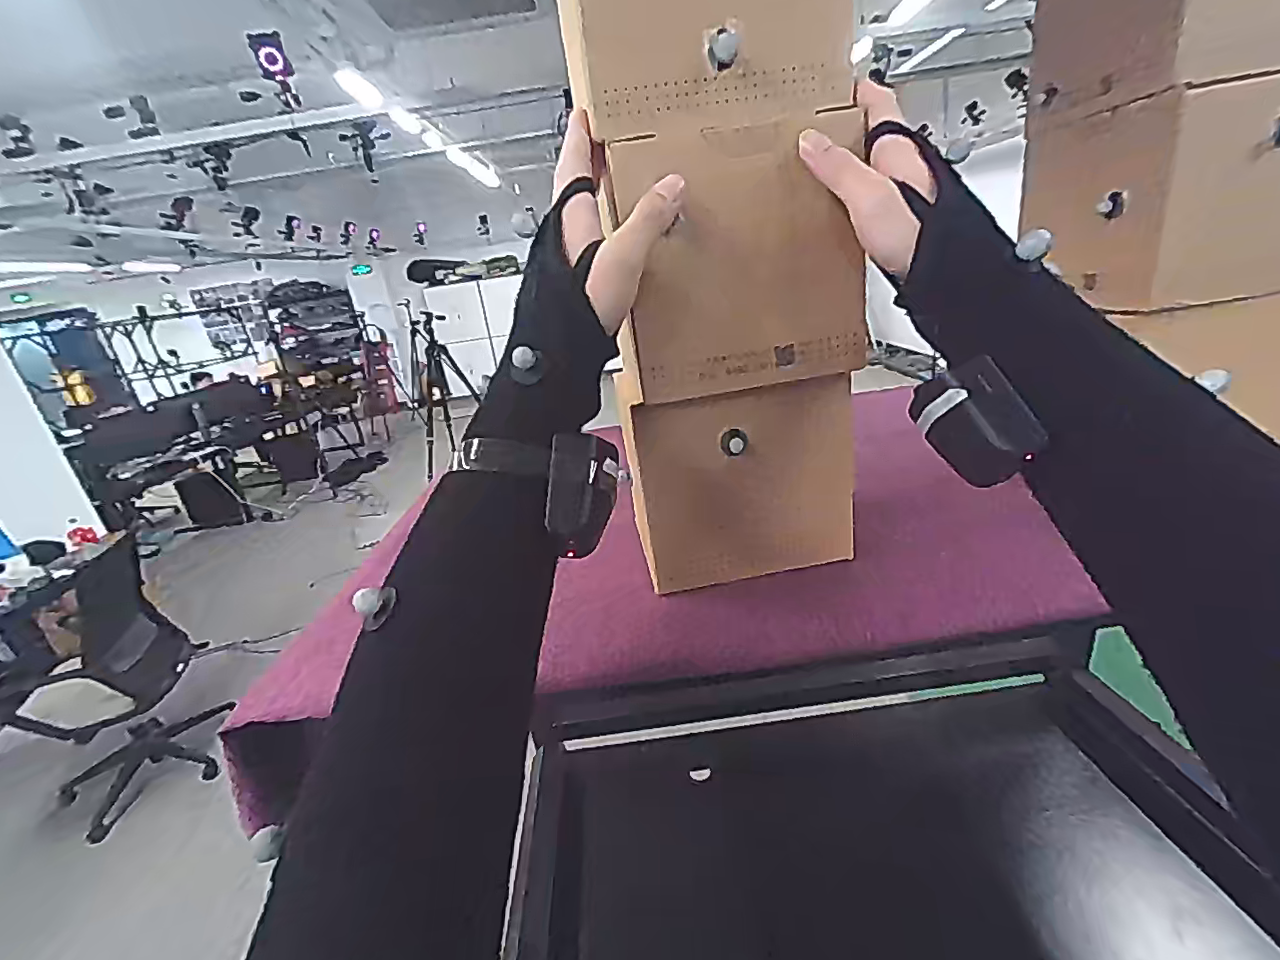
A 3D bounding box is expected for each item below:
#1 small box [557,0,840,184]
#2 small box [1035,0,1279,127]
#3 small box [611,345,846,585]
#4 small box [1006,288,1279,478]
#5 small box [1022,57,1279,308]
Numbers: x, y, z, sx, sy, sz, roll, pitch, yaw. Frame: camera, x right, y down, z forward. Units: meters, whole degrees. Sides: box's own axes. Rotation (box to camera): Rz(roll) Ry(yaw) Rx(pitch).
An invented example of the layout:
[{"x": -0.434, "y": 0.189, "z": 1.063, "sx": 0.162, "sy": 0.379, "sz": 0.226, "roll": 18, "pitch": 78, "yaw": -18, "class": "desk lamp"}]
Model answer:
[{"x": 0.032, "y": -0.327, "z": 0.393, "sx": 0.179, "sy": 0.176, "sz": 0.168, "roll": -10, "pitch": 19, "yaw": -4, "class": "small box"}, {"x": 0.464, "y": -0.411, "z": 0.446, "sx": 0.179, "sy": 0.176, "sz": 0.168, "roll": -8, "pitch": 21, "yaw": 2, "class": "small box"}, {"x": 0.076, "y": -0.021, "z": 0.502, "sx": 0.179, "sy": 0.176, "sz": 0.168, "roll": -10, "pitch": 21, "yaw": -3, "class": "small box"}, {"x": 0.514, "y": -0.107, "z": 0.555, "sx": 0.168, "sy": 0.176, "sz": 0.179, "roll": -8, "pitch": 19, "yaw": 3, "class": "small box"}, {"x": 0.486, "y": -0.255, "z": 0.493, "sx": 0.179, "sy": 0.176, "sz": 0.168, "roll": -9, "pitch": 20, "yaw": 0, "class": "small box"}]
